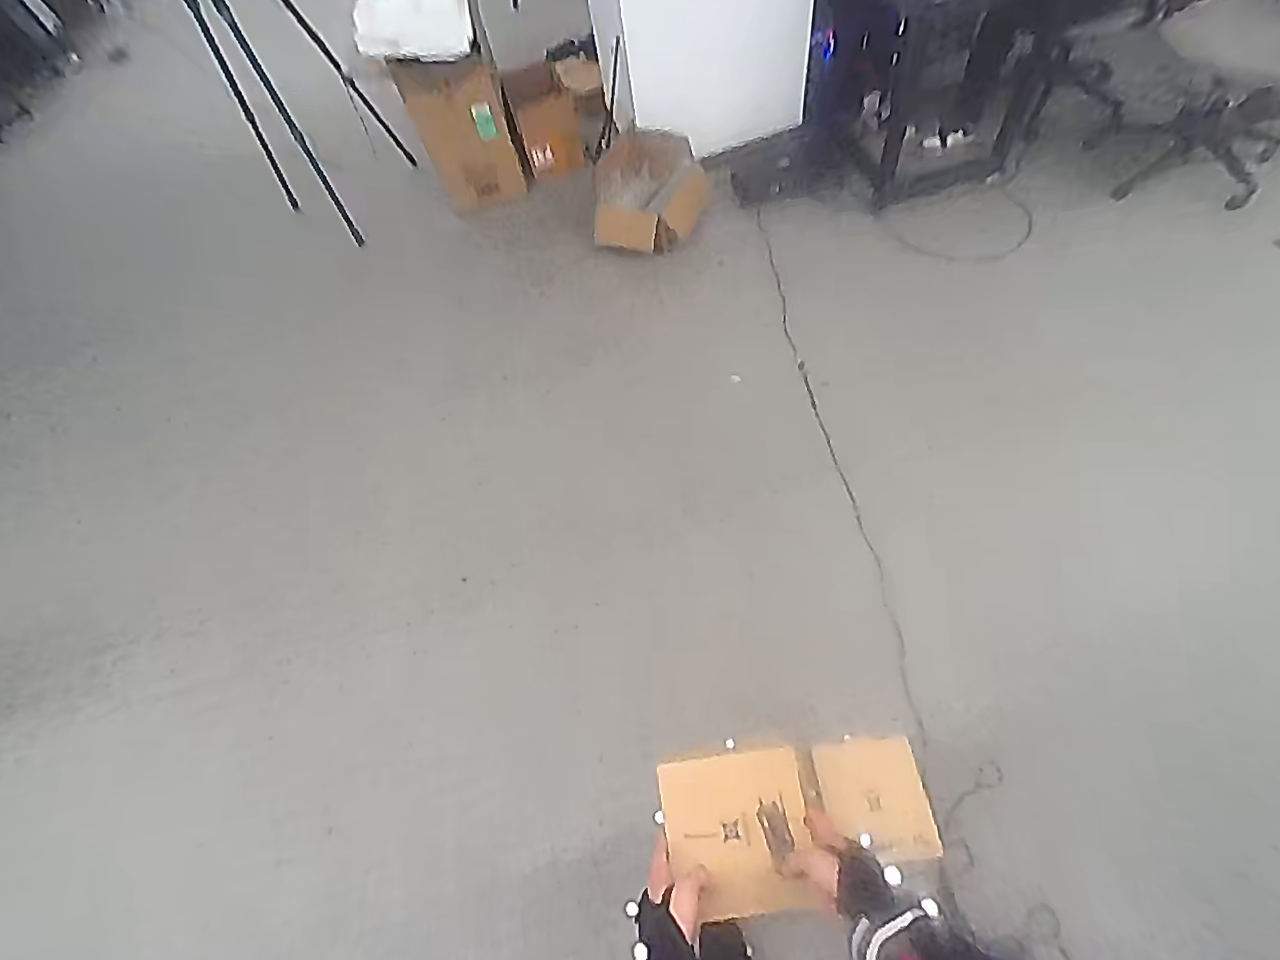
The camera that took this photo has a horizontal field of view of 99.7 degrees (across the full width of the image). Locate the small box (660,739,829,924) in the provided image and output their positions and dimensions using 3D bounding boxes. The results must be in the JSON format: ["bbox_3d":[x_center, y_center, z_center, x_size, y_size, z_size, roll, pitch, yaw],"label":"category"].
[{"bbox_3d":[0.125,0.447,0.716,0.179,0.176,0.168,-9,67,1],"label":"small box"}]

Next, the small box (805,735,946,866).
[{"bbox_3d":[0.397,0.562,0.950,0.168,0.176,0.179,-9,57,5],"label":"small box"}]
